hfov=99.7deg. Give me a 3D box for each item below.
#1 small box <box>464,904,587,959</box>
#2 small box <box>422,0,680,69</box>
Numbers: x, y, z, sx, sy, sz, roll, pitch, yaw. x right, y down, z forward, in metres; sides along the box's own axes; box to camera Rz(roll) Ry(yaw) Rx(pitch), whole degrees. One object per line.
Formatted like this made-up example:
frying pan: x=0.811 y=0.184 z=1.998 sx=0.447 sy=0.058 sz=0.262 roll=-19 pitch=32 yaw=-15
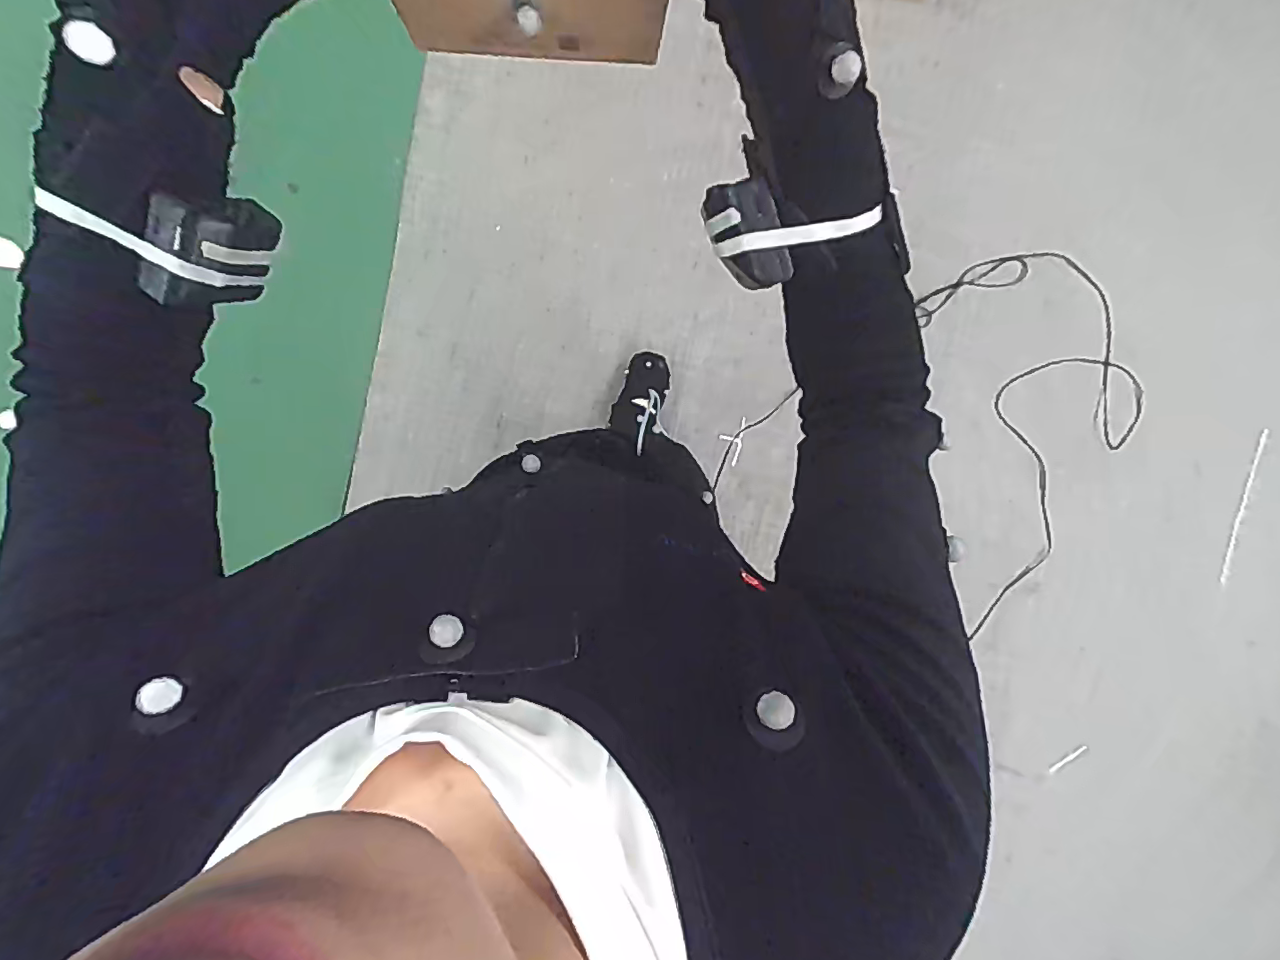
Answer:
small box: x=-0.171 y=0.725 z=0.725 sx=0.168 sy=0.176 sz=0.179 roll=17 pitch=94 yaw=-5
small box: x=-0.052 y=-0.361 z=0.276 sx=0.168 sy=0.176 sz=0.179 roll=1 pitch=99 yaw=-5
